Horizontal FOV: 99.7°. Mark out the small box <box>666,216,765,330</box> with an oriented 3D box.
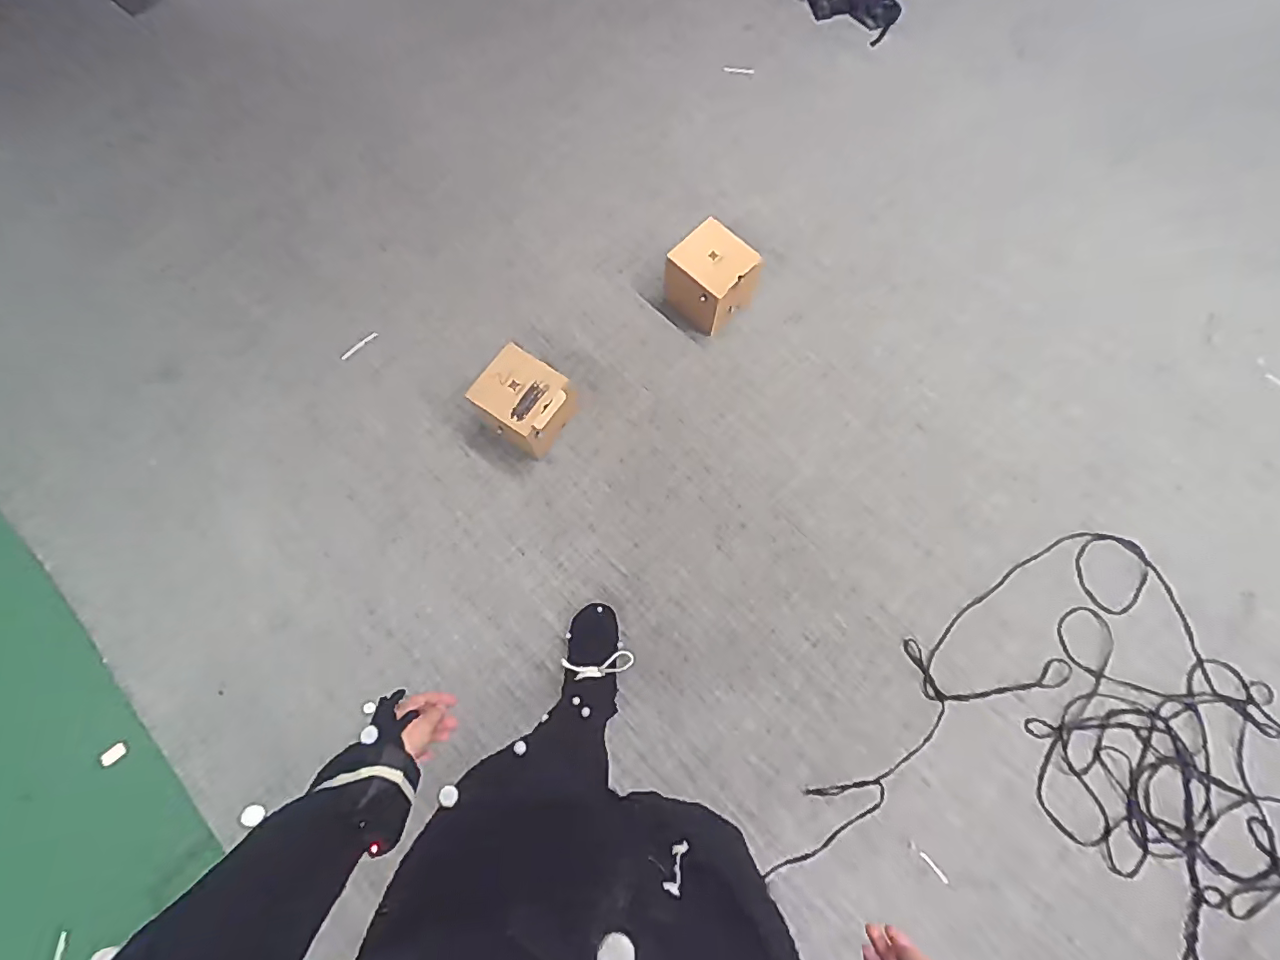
[{"bbox_3d":[0.182,-0.519,1.376,0.179,0.176,0.168,43,78,10],"label":"small box"}]
